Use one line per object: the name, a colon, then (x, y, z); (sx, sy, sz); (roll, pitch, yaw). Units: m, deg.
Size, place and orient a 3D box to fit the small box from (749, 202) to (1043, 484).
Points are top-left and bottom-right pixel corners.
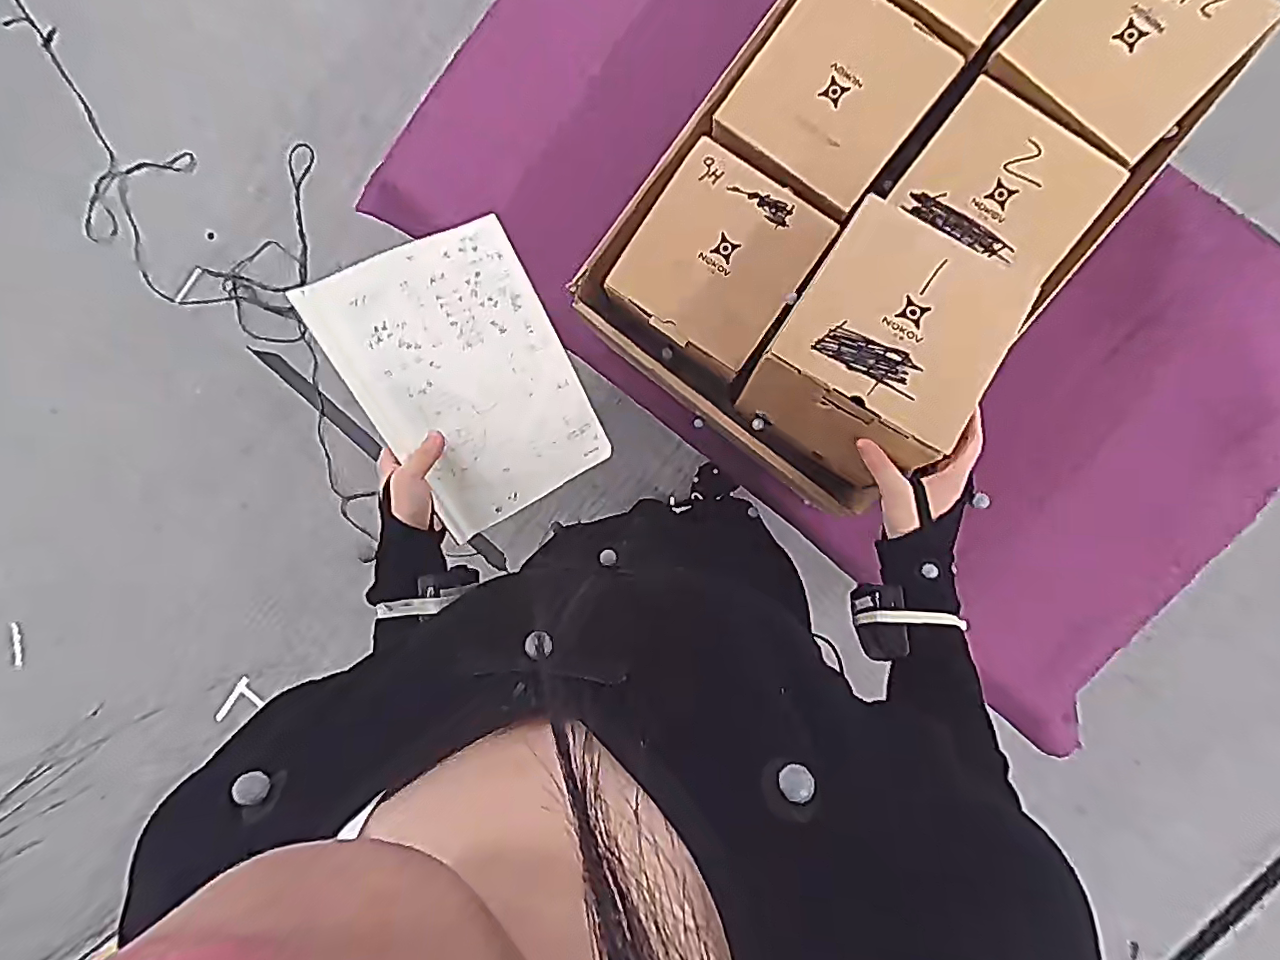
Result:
small box: (0.222, -0.113, 0.524); (0.168, 0.176, 0.179); (33, 83, 4)
